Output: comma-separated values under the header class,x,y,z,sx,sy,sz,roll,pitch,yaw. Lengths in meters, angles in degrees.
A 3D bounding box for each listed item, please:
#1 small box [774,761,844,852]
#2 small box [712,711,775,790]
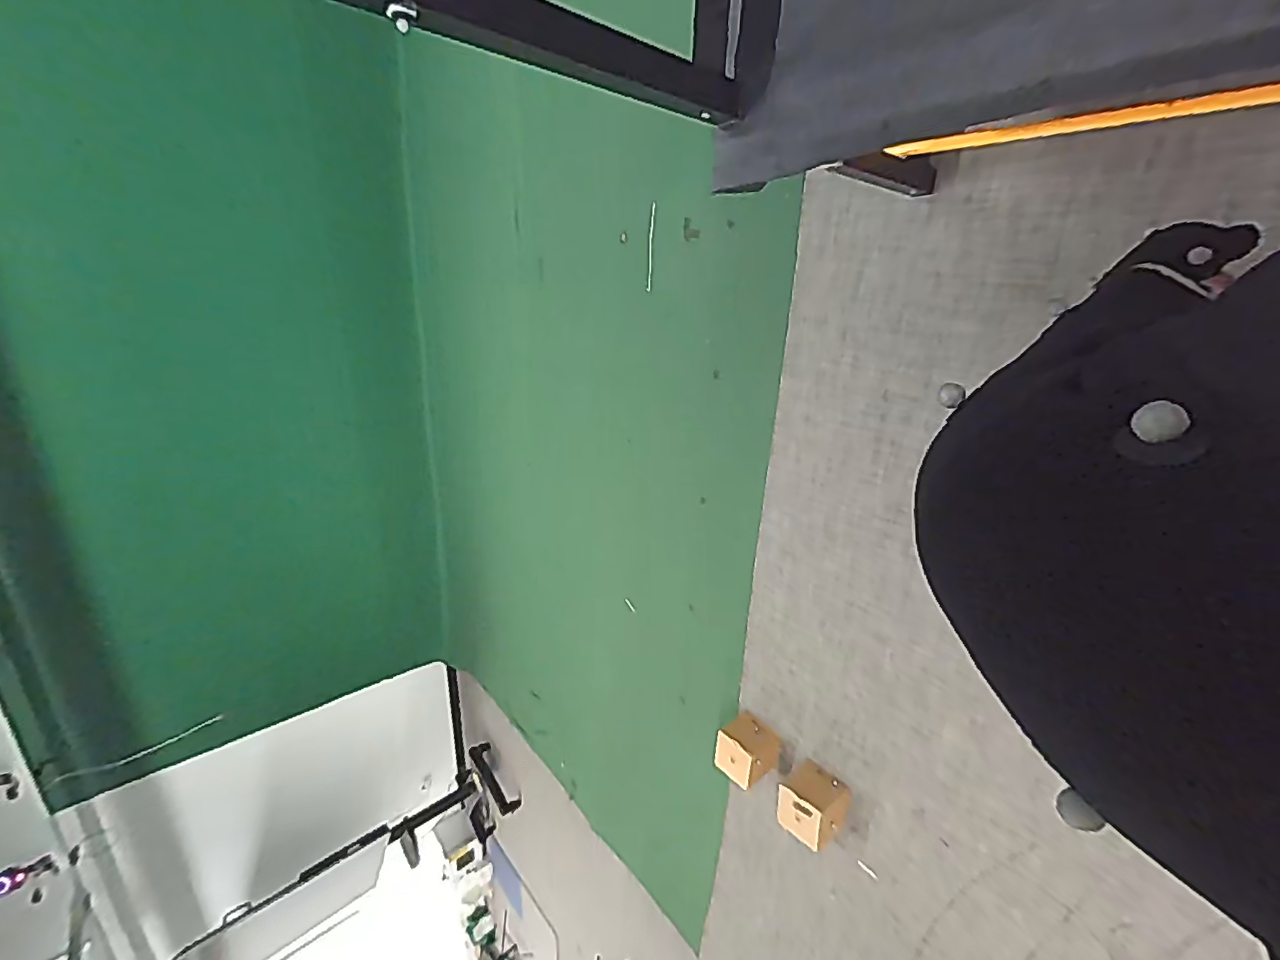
class,x,y,z,sx,sy,sz,roll,pitch,yaw
small box,0.591,1.126,1.885,0.168,0.176,0.179,18,115,47
small box,0.401,1.038,2.089,0.168,0.176,0.179,23,117,44
